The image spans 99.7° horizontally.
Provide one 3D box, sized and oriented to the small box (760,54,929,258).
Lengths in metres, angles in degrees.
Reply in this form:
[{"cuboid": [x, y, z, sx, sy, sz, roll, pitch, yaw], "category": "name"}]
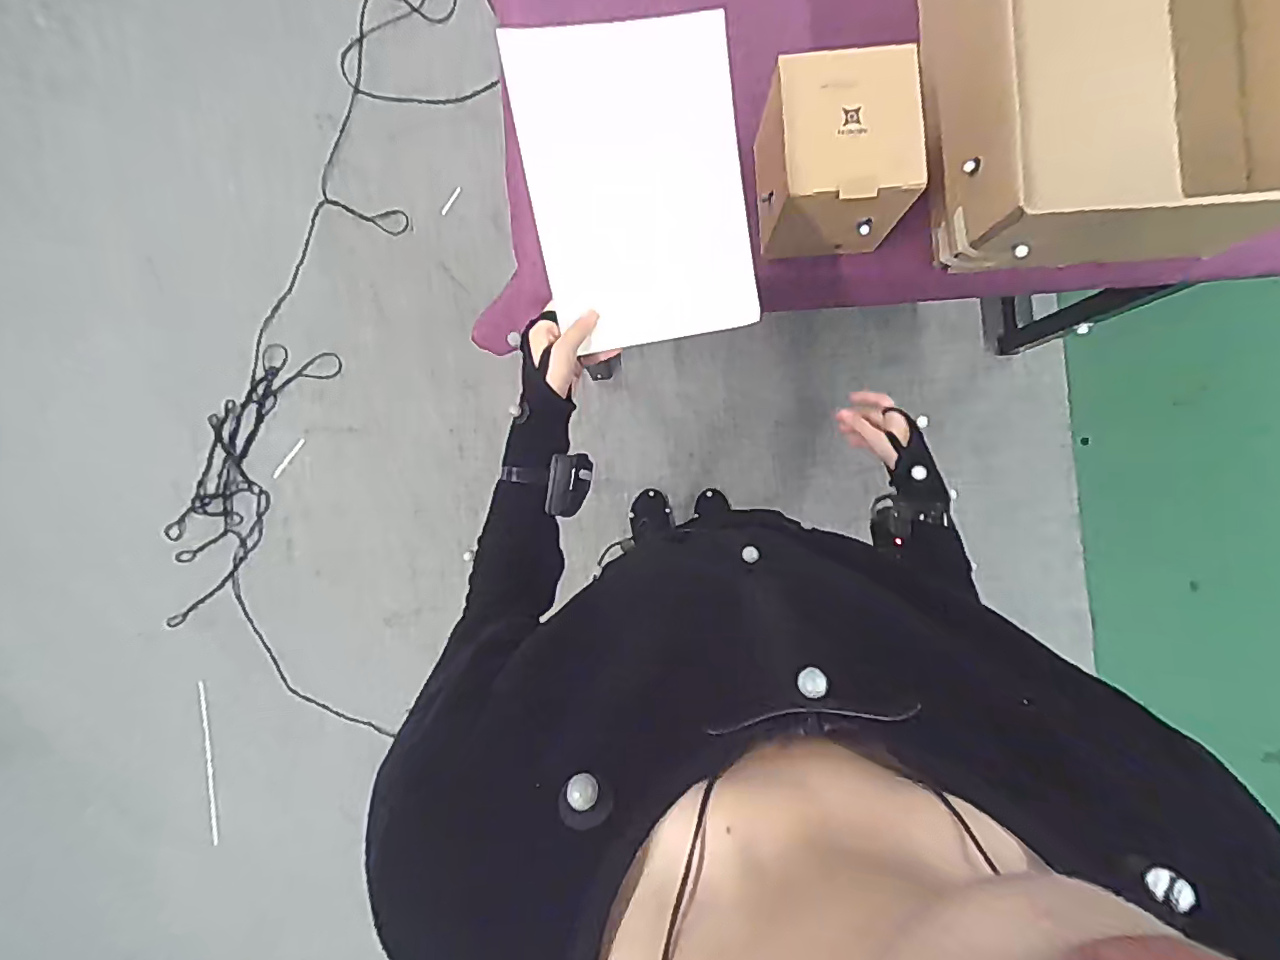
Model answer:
[{"cuboid": [0.258, -0.411, 0.718, 0.168, 0.176, 0.179, -3, 86, 2], "category": "small box"}]
